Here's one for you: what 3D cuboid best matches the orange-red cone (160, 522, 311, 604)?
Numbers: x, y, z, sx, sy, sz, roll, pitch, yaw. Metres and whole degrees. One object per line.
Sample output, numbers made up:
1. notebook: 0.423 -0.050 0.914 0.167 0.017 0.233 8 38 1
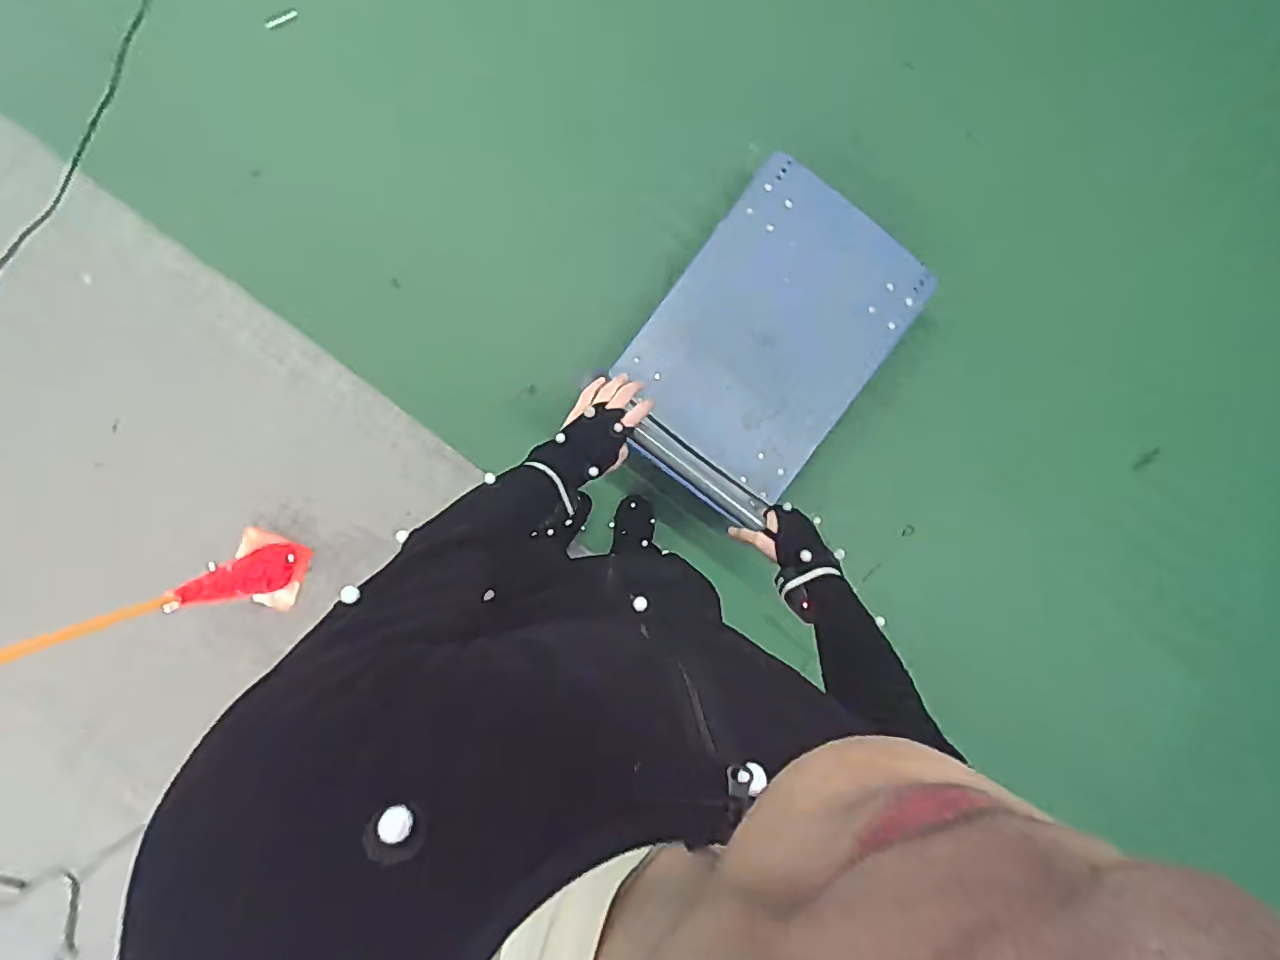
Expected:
1. orange-red cone: -1.069 0.245 1.390 0.199 0.360 0.198 23 91 -2
